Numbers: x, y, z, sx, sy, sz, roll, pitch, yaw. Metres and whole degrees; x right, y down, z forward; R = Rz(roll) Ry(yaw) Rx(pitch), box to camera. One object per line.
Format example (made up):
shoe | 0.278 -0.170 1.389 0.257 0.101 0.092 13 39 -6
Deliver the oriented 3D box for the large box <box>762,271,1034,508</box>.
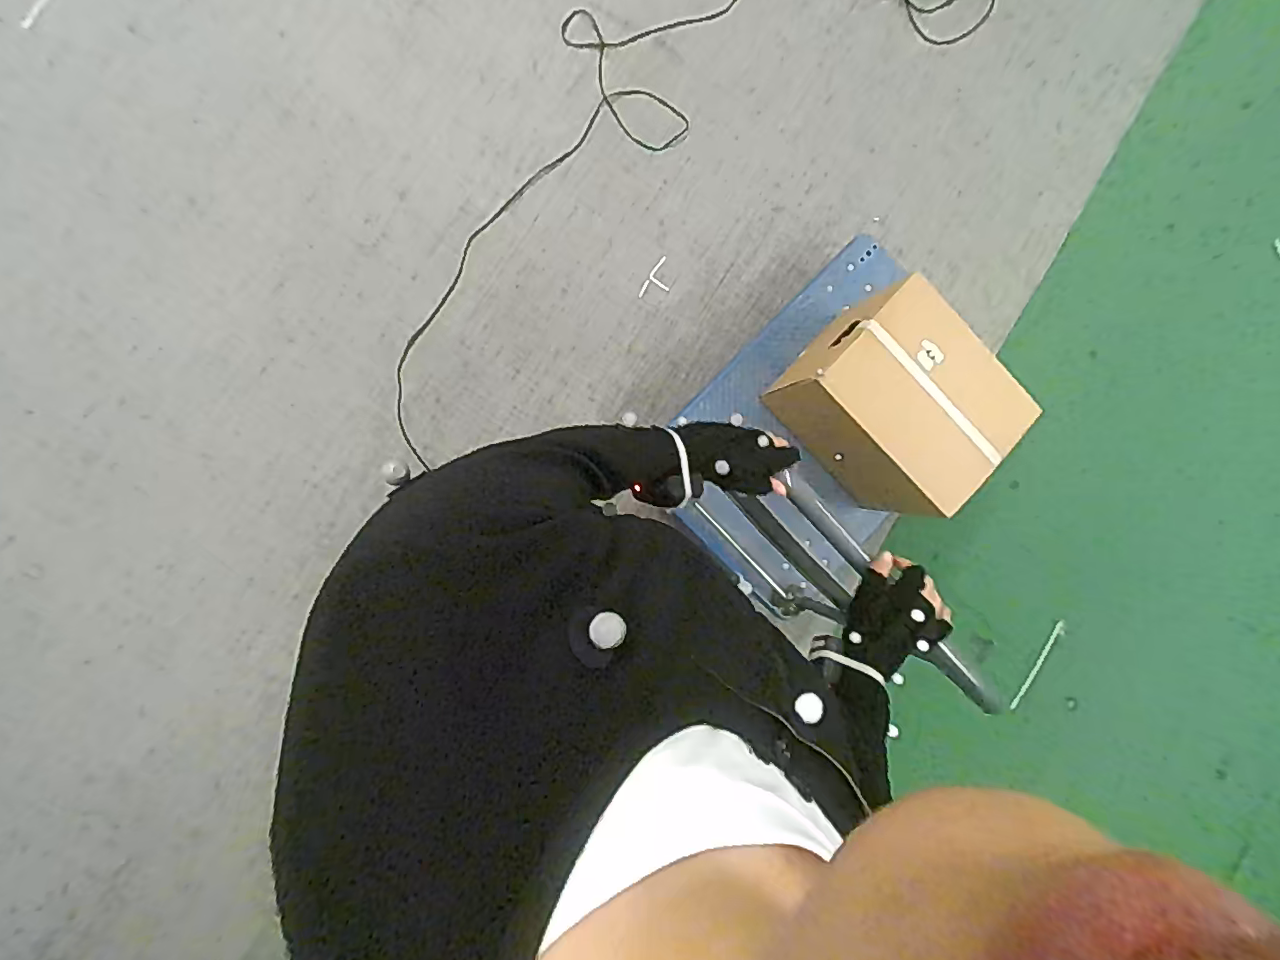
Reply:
large box | 0.565 -0.183 1.246 0.408 0.320 0.320 44 84 -6
